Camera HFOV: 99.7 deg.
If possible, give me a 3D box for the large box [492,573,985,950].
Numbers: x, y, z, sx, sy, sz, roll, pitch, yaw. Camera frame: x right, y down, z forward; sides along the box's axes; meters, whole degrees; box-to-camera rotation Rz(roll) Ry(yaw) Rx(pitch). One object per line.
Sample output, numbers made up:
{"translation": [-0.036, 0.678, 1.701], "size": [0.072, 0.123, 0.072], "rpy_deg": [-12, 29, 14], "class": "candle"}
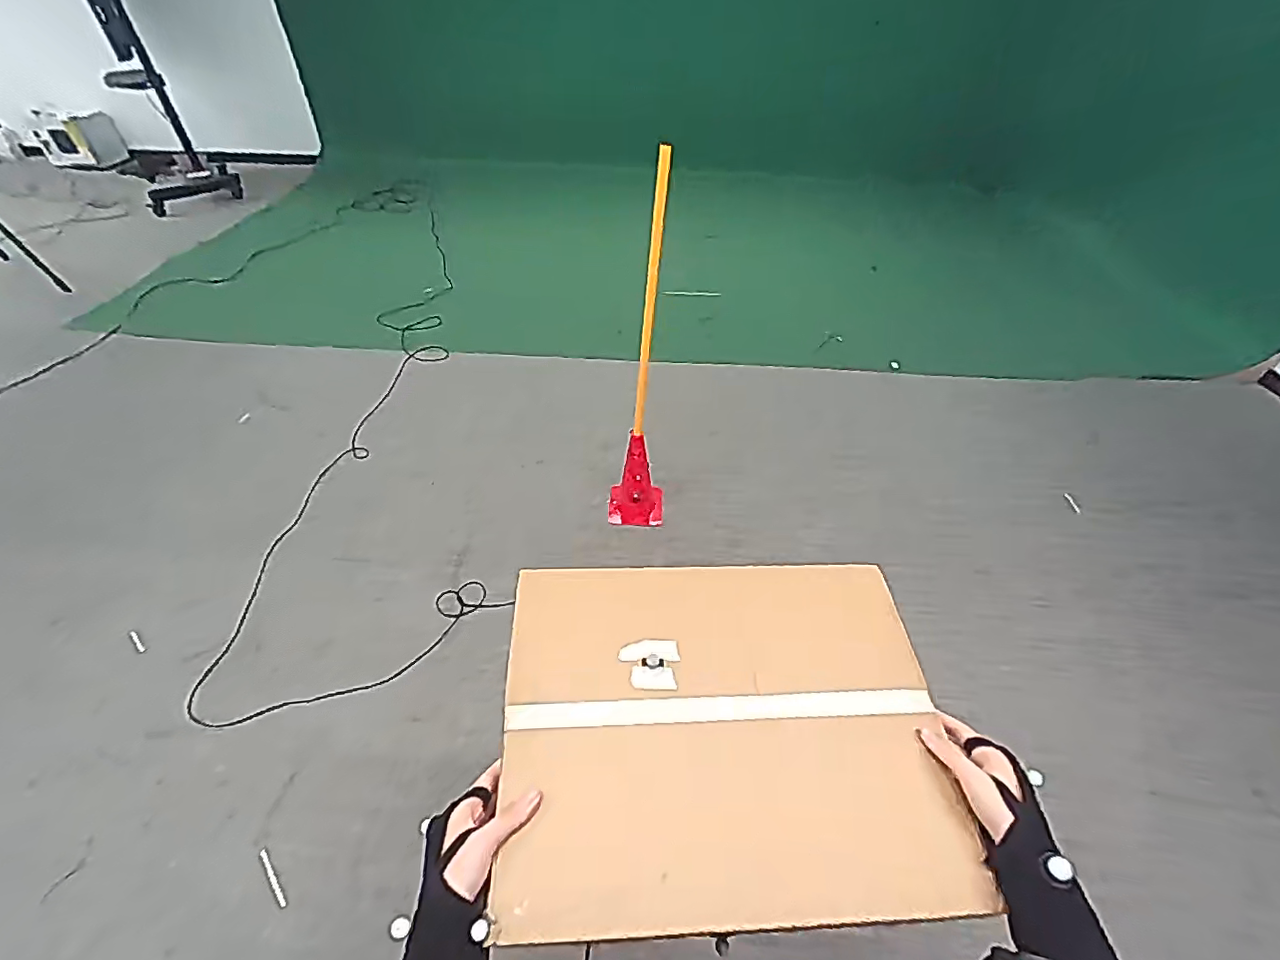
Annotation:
{"translation": [0.072, 0.324, 0.630], "size": [0.408, 0.320, 0.320], "rpy_deg": [-1, 49, -4], "class": "large box"}
